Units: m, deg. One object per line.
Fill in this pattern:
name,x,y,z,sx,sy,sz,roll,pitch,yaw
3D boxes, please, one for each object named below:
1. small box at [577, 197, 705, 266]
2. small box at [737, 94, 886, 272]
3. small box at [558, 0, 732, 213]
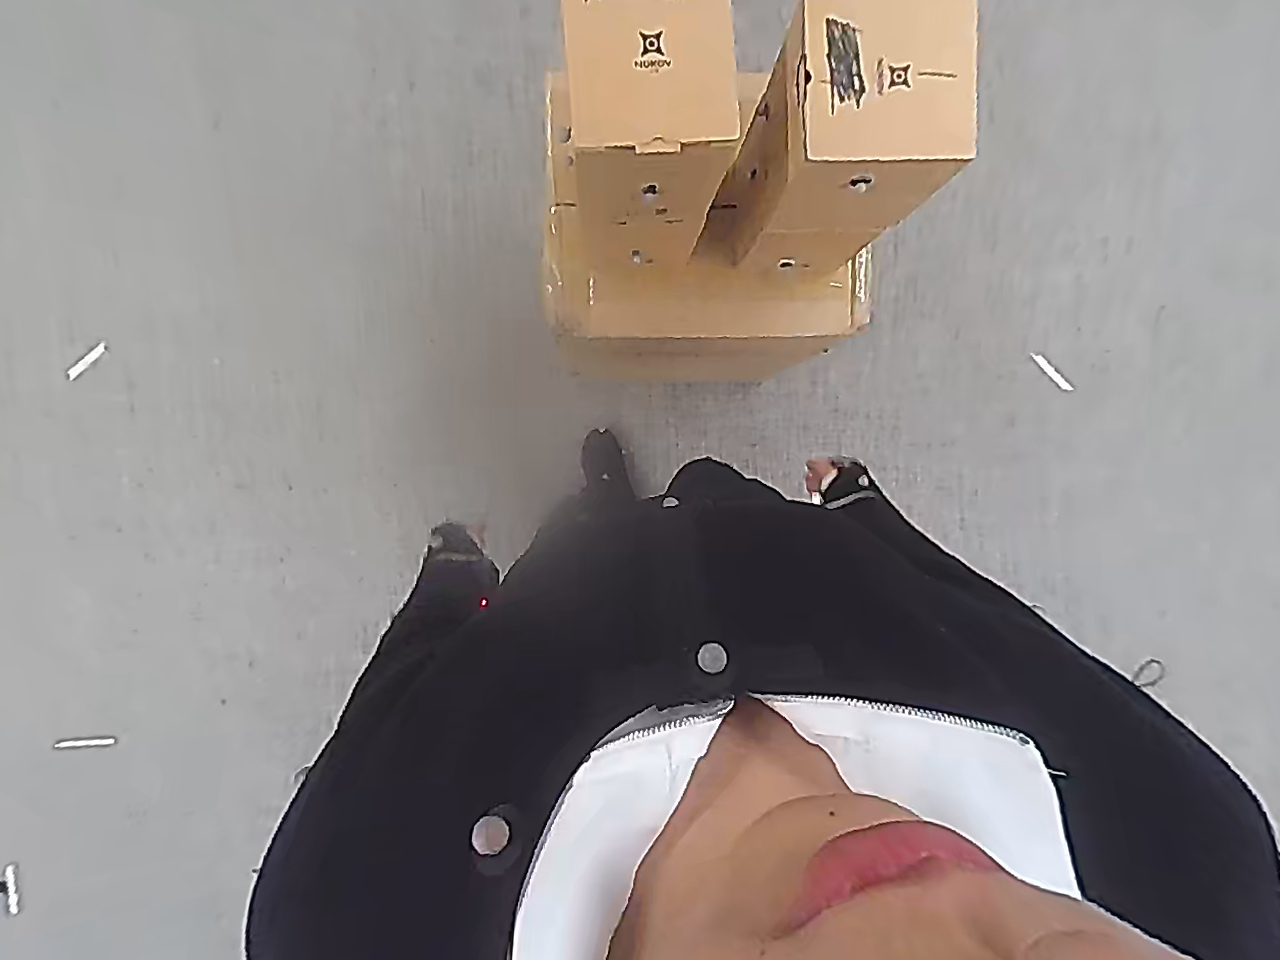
small box,-0.007,-0.422,0.768,0.168,0.176,0.179,-3,93,-4
small box,0.237,-0.417,0.783,0.168,0.176,0.179,-2,94,0
small box,0.002,-0.416,0.604,0.168,0.176,0.179,-5,94,-3
